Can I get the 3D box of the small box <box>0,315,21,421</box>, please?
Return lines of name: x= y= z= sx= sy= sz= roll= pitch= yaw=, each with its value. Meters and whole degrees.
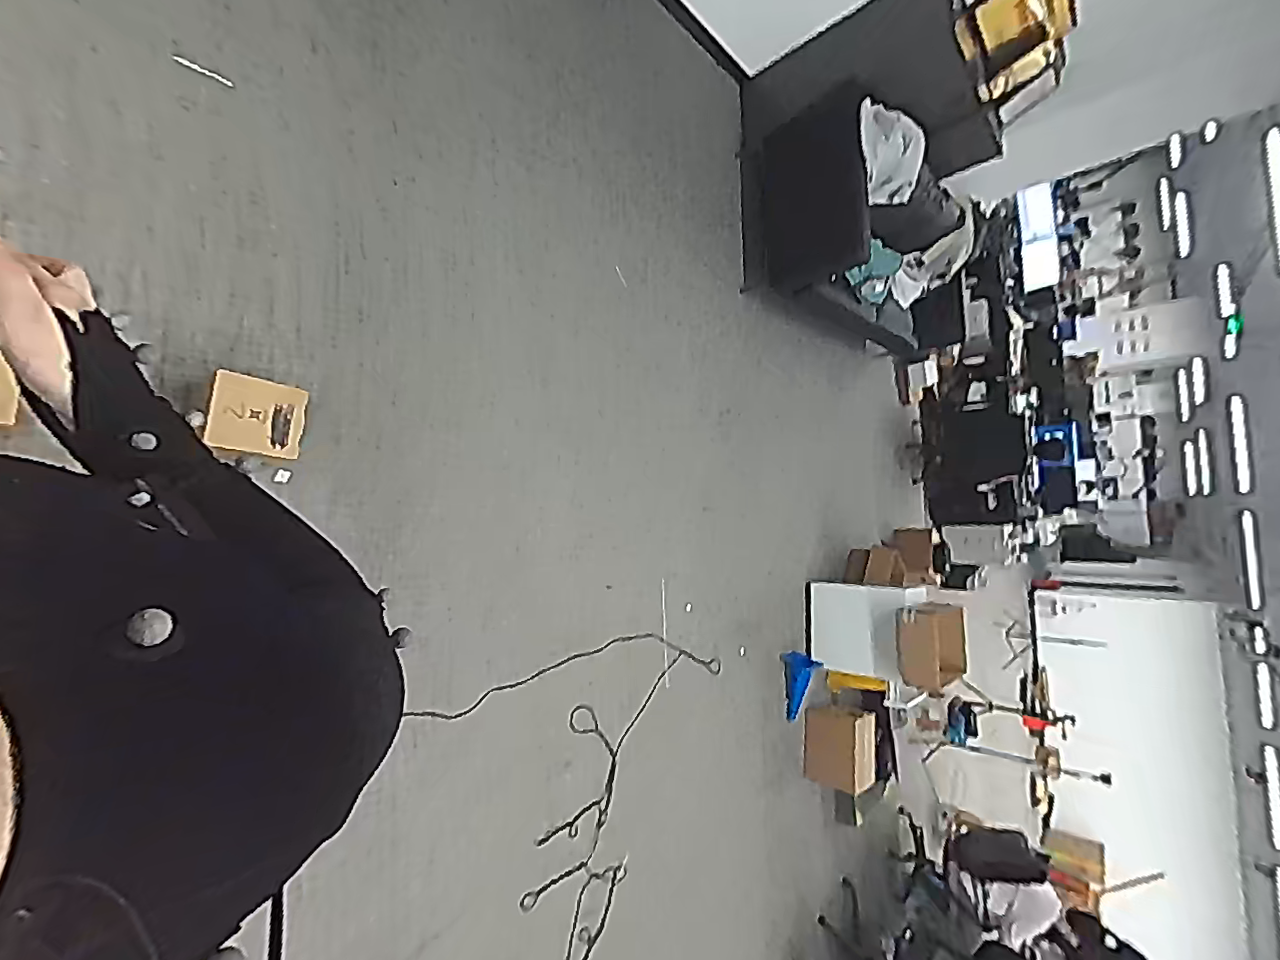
small box: x=-1.193 y=-0.201 z=0.921 sx=0.168 sy=0.176 sz=0.179 roll=9 pitch=81 yaw=-48
